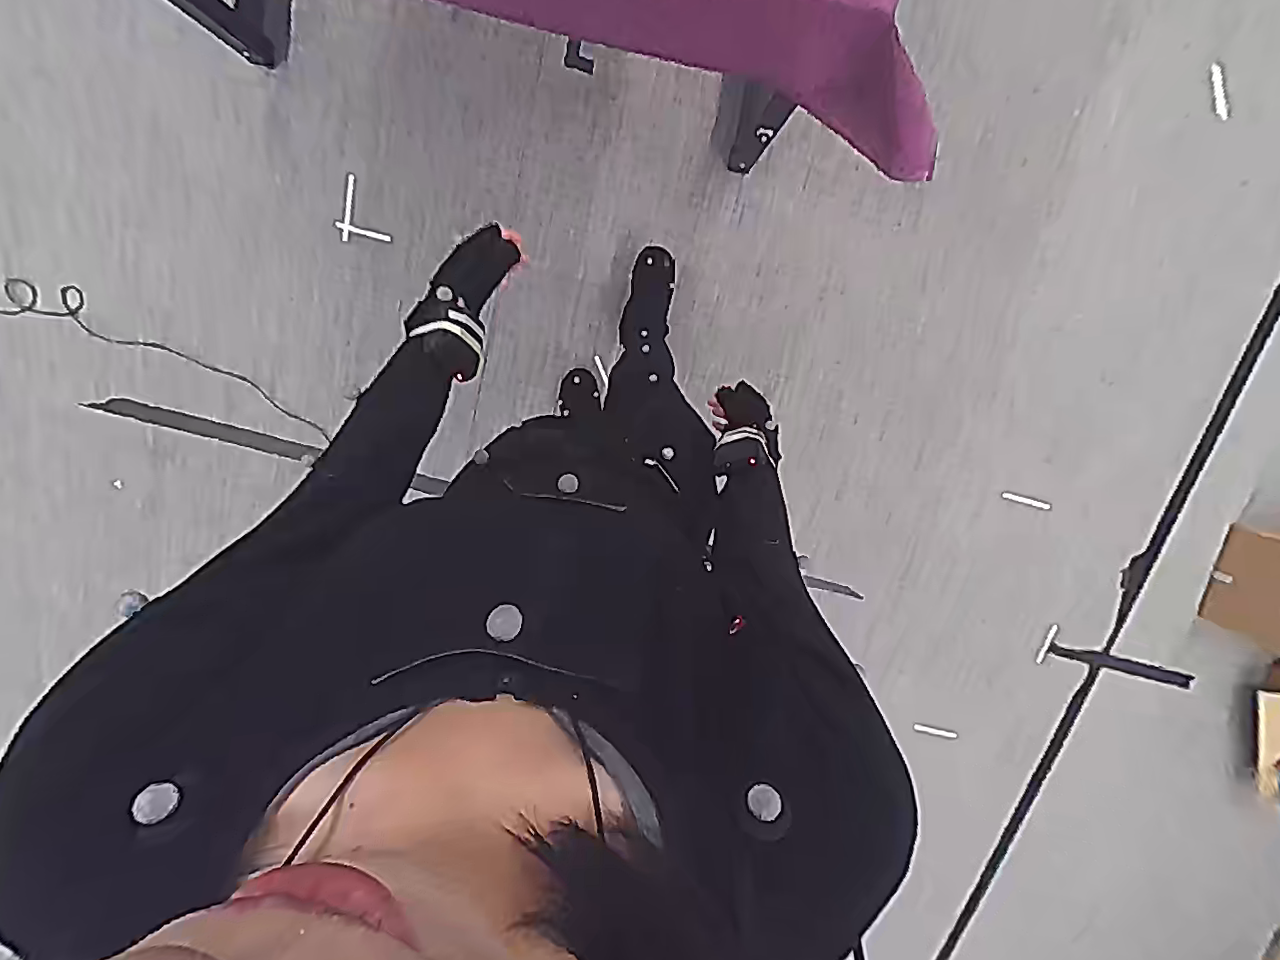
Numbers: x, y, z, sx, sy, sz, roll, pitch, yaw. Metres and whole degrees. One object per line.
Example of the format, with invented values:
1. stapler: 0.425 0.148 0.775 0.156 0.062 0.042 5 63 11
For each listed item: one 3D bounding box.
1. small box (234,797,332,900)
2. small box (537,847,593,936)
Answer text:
1. small box: -1.099 1.140 1.680 0.168 0.176 0.179 29 101 -9
2. small box: -0.241 1.336 1.766 0.168 0.176 0.179 3 105 -3
